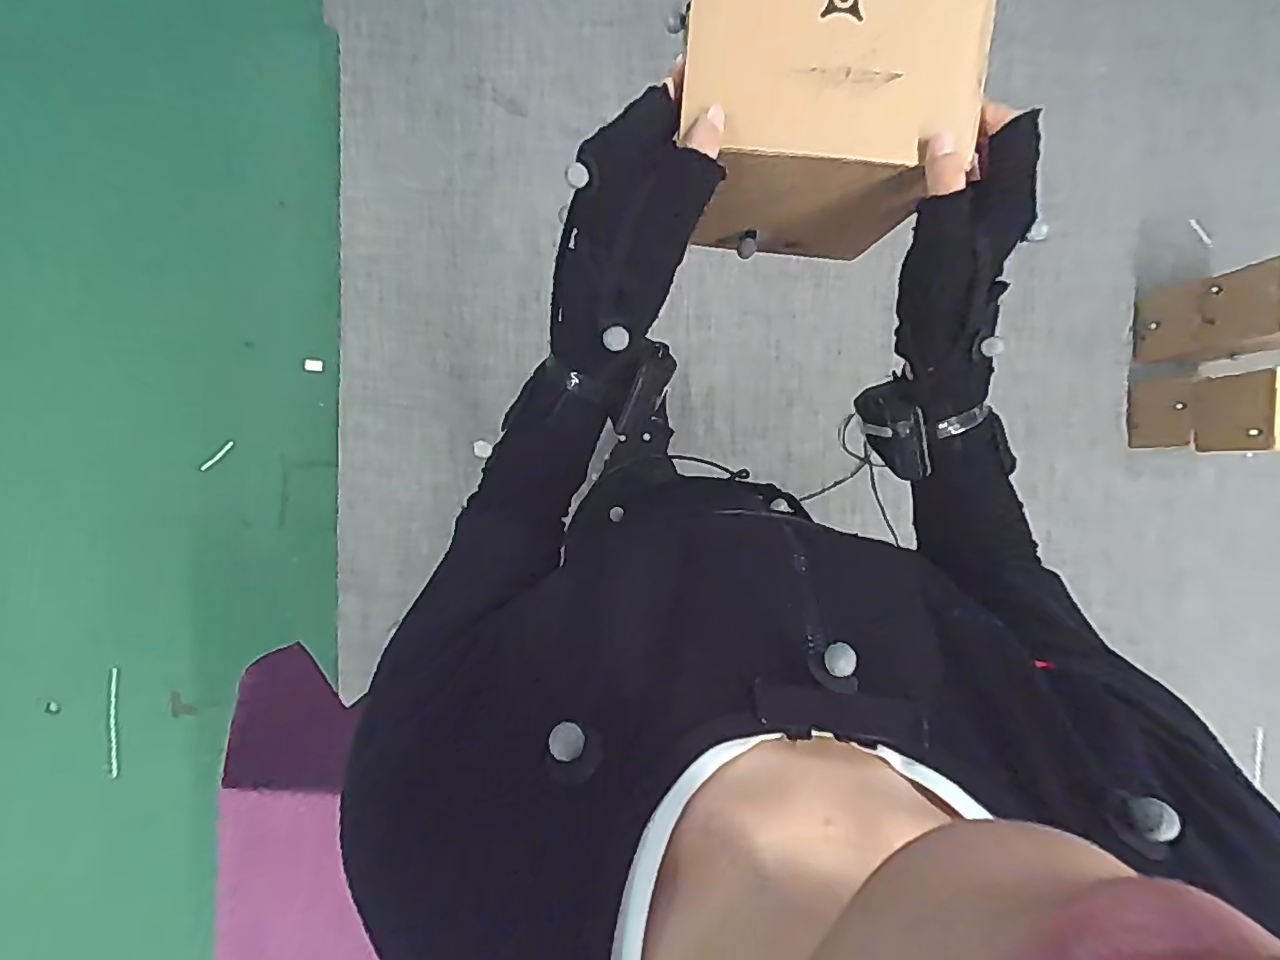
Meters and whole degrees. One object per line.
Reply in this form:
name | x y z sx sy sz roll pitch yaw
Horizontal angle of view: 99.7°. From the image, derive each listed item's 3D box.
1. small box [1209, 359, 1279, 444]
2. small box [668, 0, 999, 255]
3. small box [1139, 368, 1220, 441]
small box | 1.393 -0.169 1.167 0.168 0.176 0.179 -2 93 2
small box | 0.111 -0.276 0.369 0.168 0.176 0.179 5 97 -1
small box | 1.395 -0.182 1.330 0.179 0.176 0.168 -1 92 1
